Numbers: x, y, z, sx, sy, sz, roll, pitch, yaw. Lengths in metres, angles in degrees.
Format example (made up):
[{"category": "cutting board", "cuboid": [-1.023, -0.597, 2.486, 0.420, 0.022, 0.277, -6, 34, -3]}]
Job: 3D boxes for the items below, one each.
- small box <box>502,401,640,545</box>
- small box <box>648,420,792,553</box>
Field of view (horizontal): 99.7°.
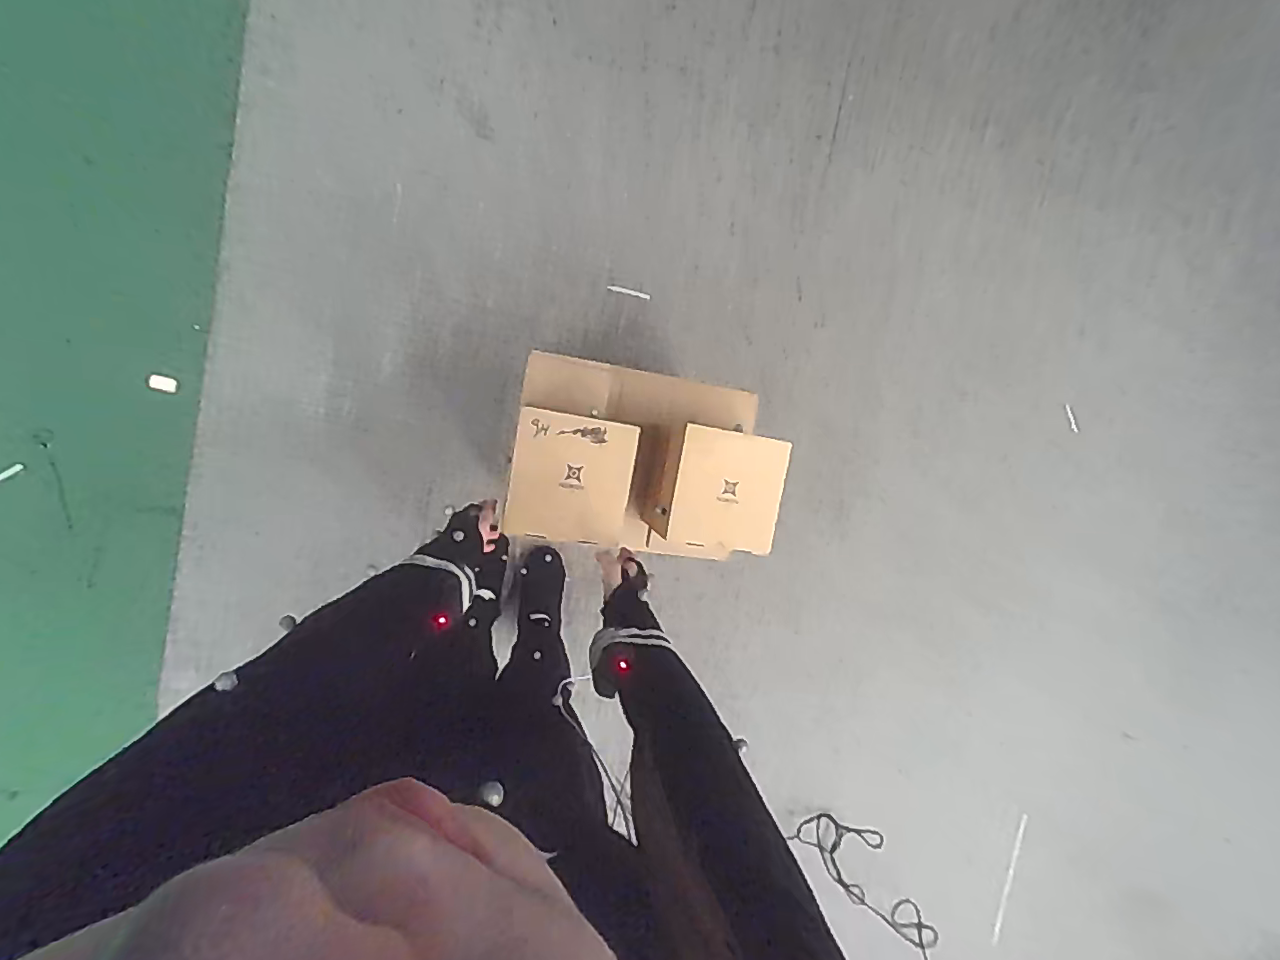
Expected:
[{"category": "small box", "cuboid": [-0.109, -0.017, 0.815, 0.168, 0.176, 0.179, 9, 98, -14]}, {"category": "small box", "cuboid": [0.116, 0.003, 0.864, 0.168, 0.176, 0.179, 9, 96, -12]}]
